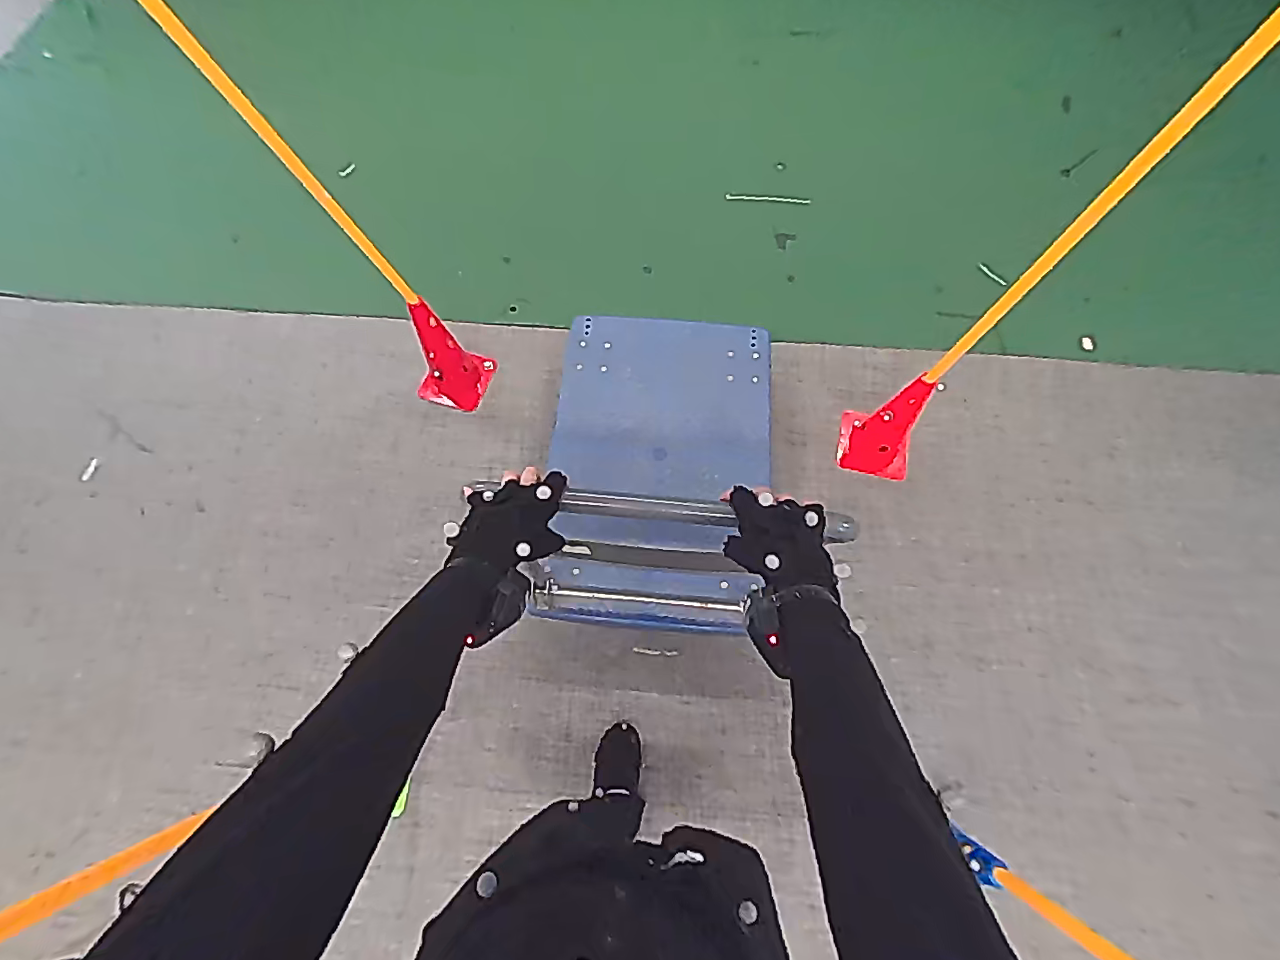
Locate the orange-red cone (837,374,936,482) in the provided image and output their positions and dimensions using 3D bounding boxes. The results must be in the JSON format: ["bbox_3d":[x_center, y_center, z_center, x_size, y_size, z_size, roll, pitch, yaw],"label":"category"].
[{"bbox_3d":[0.694,-0.166,1.452,0.198,0.360,0.199,14,68,7],"label":"orange-red cone"}]
